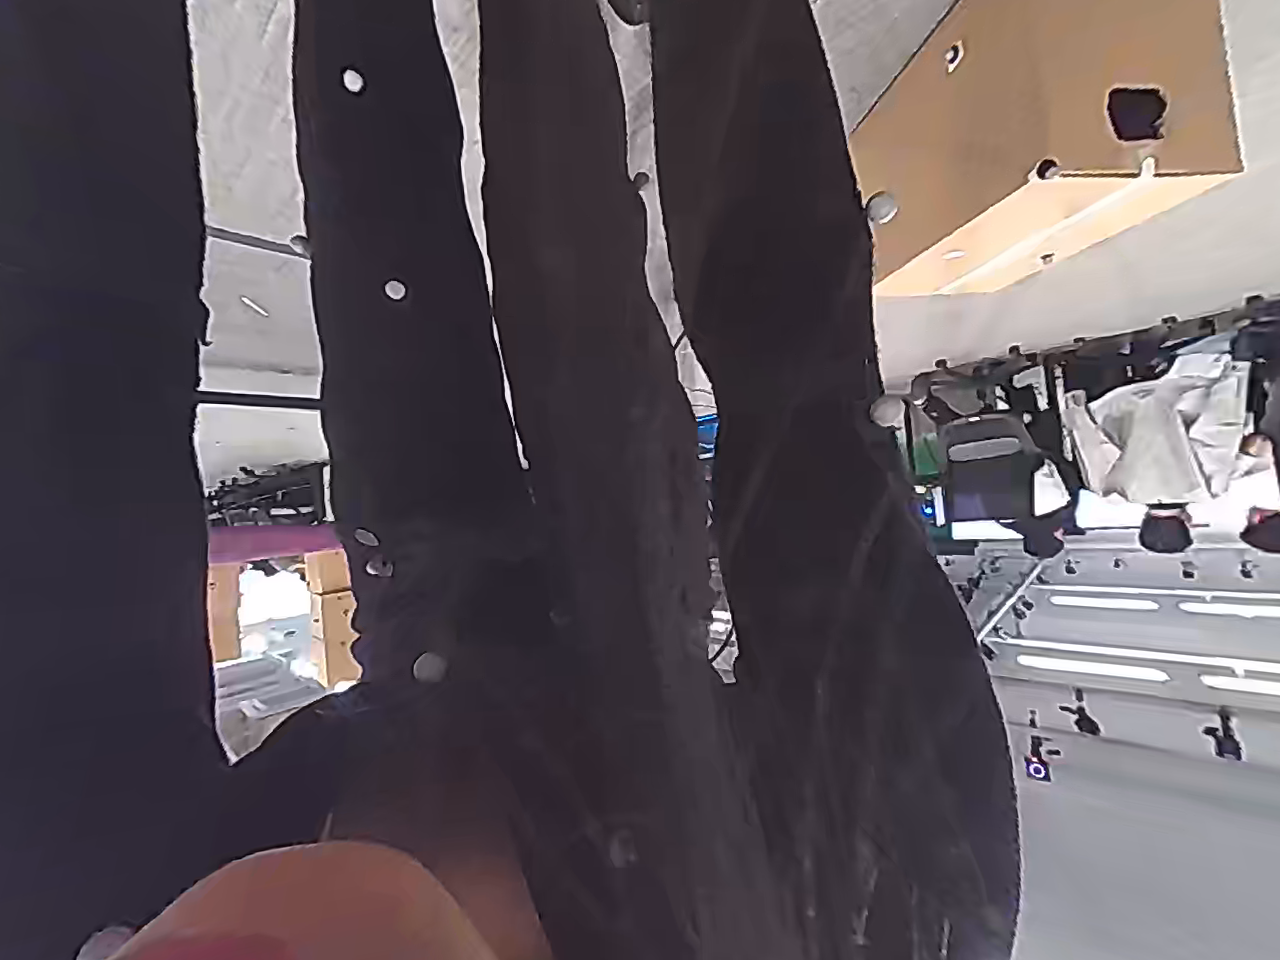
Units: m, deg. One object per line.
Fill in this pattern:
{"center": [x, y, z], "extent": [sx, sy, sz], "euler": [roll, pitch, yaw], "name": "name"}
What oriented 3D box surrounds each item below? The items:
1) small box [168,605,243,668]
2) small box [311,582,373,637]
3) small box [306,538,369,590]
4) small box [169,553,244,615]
{"center": [-1.442, 0.502, 1.789], "extent": [0.179, 0.176, 0.168], "euler": [-5, 178, 41], "name": "small box"}
{"center": [-1.130, 0.477, 2.040], "extent": [0.168, 0.176, 0.179], "euler": [-4, 178, -43], "name": "small box"}
{"center": [-1.158, 0.316, 2.061], "extent": [0.179, 0.176, 0.168], "euler": [-6, 179, 43], "name": "small box"}
{"center": [-1.446, 0.340, 1.798], "extent": [0.179, 0.176, 0.168], "euler": [-6, 178, 42], "name": "small box"}
